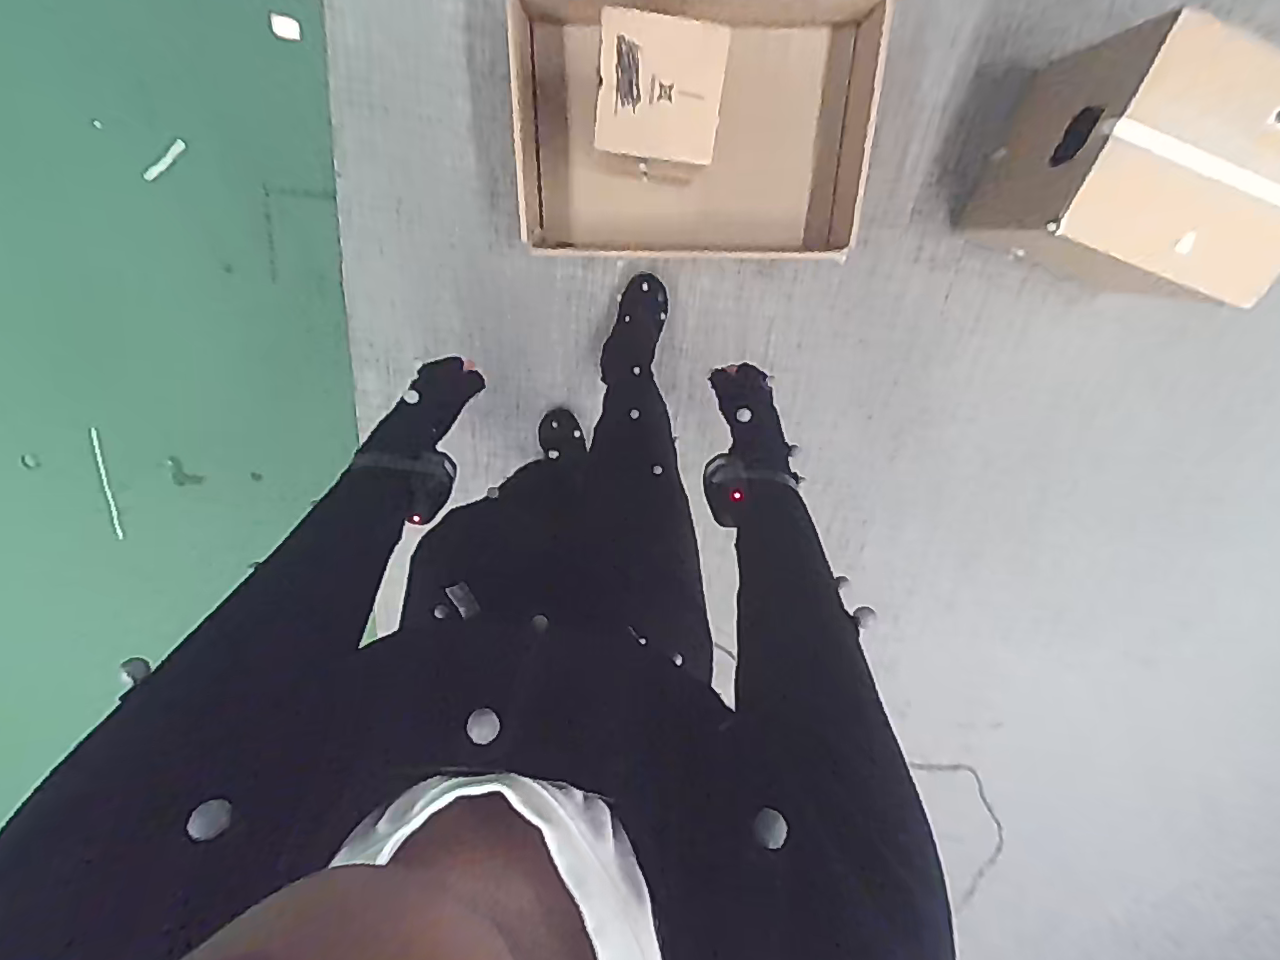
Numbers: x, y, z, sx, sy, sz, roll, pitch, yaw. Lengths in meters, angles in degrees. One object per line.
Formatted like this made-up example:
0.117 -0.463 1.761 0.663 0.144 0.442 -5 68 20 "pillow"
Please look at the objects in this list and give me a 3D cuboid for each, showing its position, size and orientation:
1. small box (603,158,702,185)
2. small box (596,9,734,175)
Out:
0.030 -0.642 0.978 0.179 0.176 0.168 6 114 -5 "small box"
0.030 -0.576 0.828 0.179 0.176 0.168 5 115 -5 "small box"
